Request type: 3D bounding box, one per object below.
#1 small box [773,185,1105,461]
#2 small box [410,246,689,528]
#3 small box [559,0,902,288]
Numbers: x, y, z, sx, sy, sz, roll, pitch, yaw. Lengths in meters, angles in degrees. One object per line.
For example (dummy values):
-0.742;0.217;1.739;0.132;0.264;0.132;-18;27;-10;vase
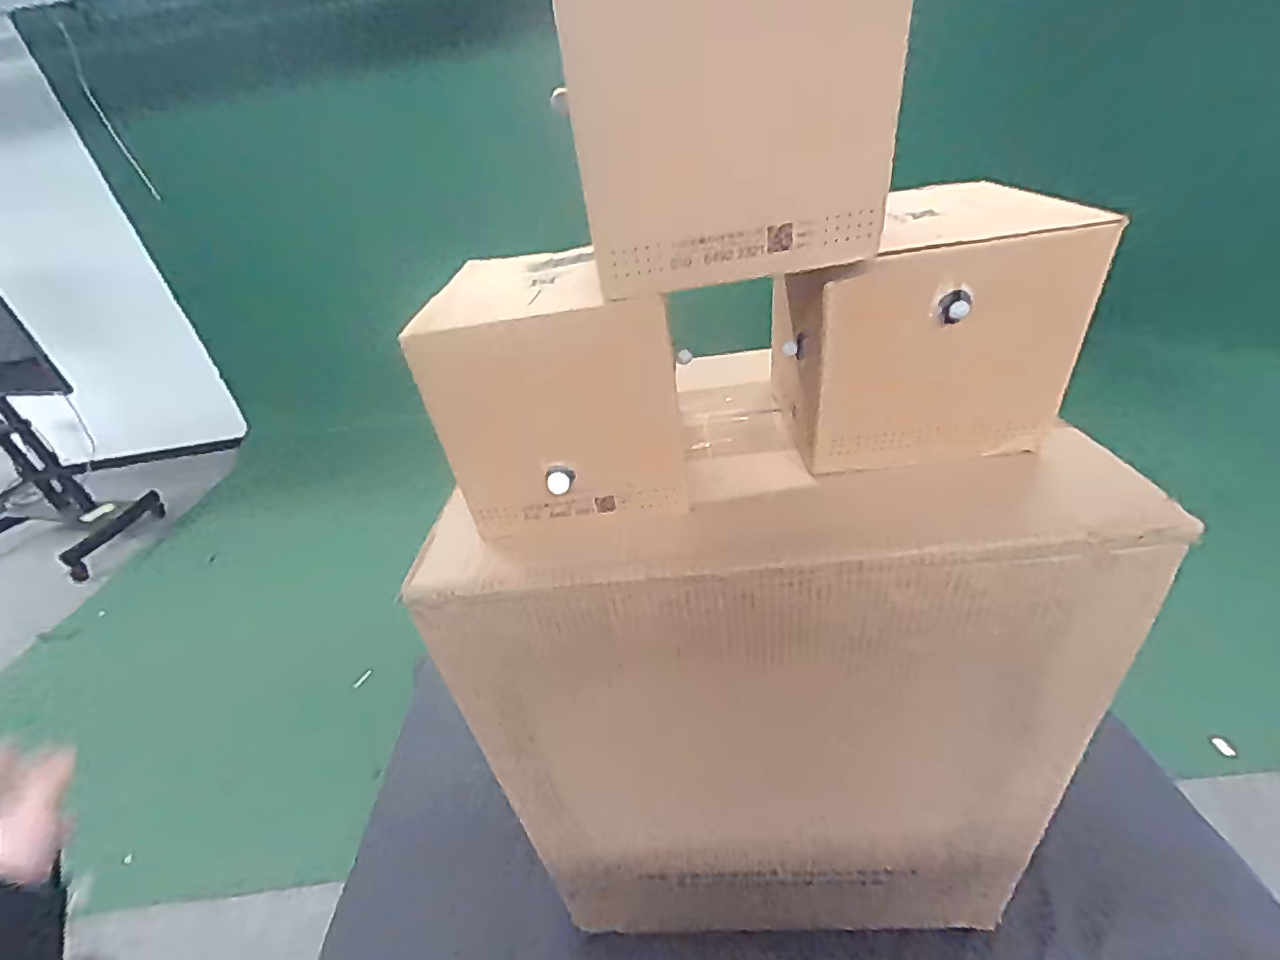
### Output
0.208;-0.128;0.442;0.179;0.176;0.168;-5;36;3;small box
-0.052;-0.083;0.443;0.168;0.176;0.179;-7;35;6;small box
0.042;-0.234;0.346;0.168;0.176;0.179;-9;34;0;small box
